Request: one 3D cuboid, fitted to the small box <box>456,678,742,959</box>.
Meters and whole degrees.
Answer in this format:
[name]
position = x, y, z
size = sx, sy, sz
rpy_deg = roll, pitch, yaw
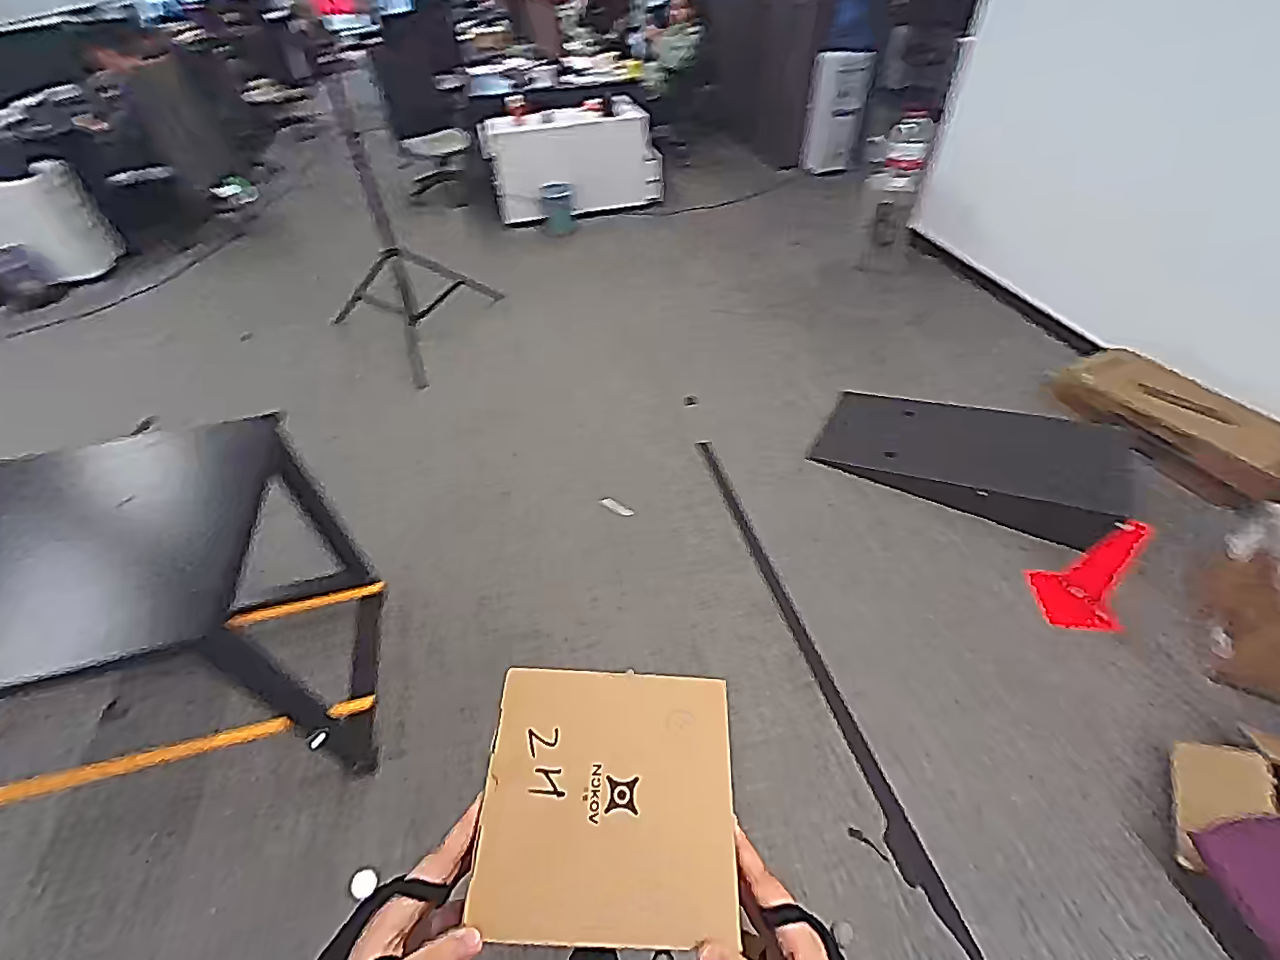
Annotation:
[small box]
position = -0.026, 0.270, 0.436
size = 0.179, 0.176, 0.168
rpy_deg = 3, 53, -2
